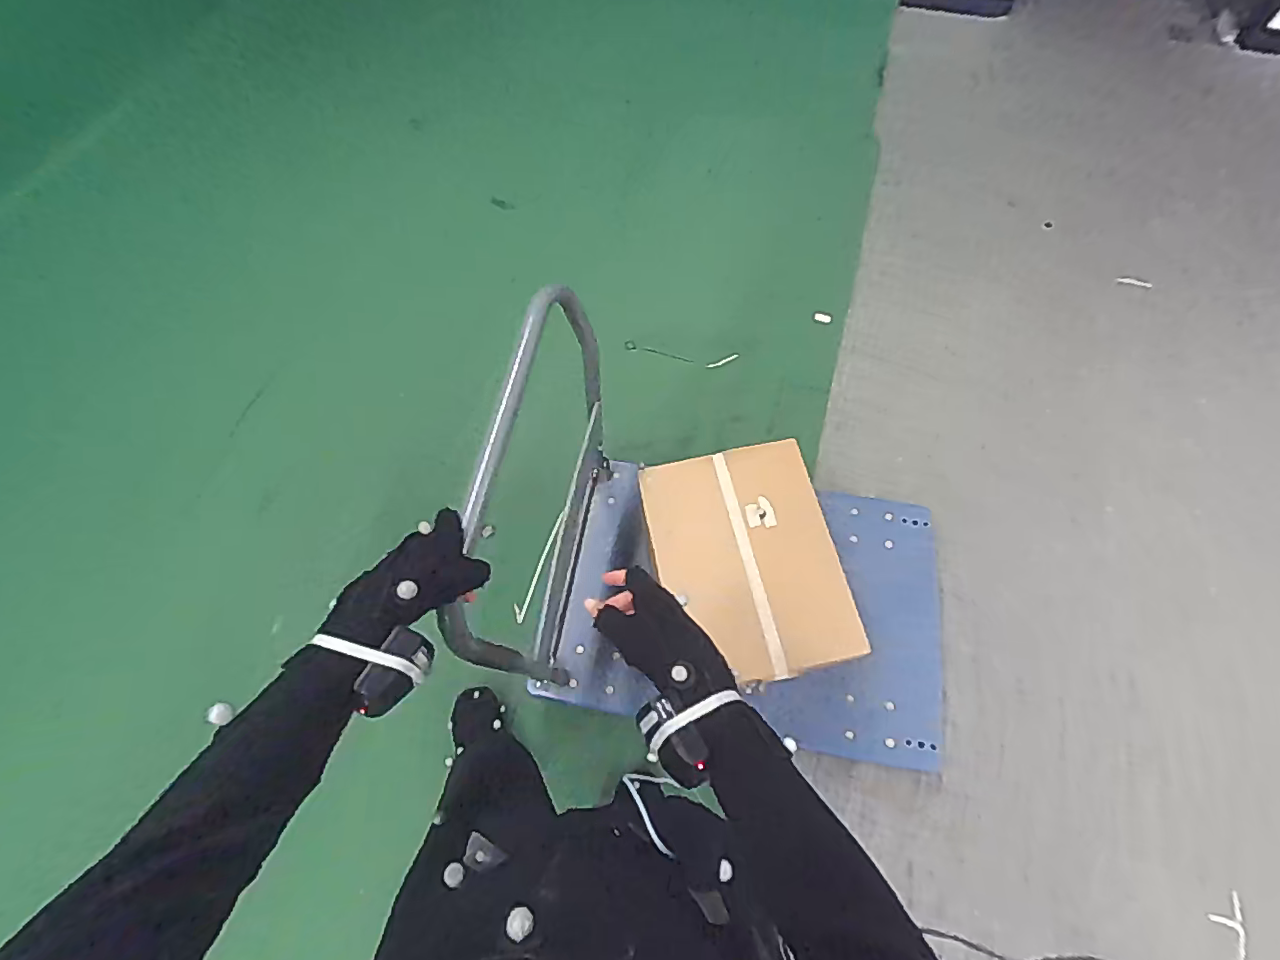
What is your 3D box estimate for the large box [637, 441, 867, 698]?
[{"bbox_3d":[0.192,0.192,1.093,0.320,0.320,0.408,-11,66,-3],"label":"large box"}]
